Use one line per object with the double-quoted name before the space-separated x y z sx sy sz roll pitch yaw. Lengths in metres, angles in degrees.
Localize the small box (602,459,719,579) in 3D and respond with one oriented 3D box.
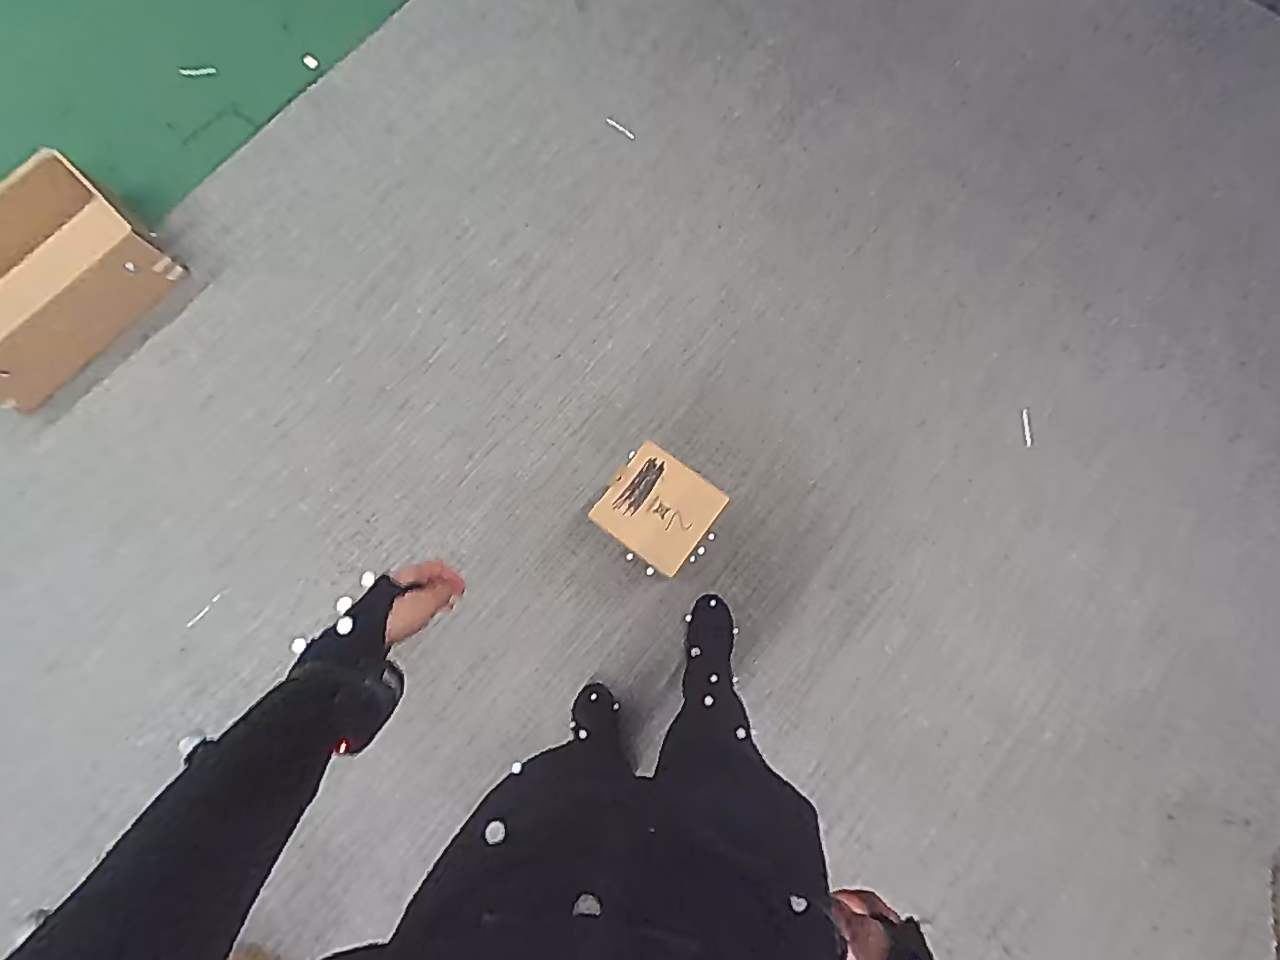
"small box" 0.043 0.088 1.130 0.168 0.176 0.179 40 83 12
